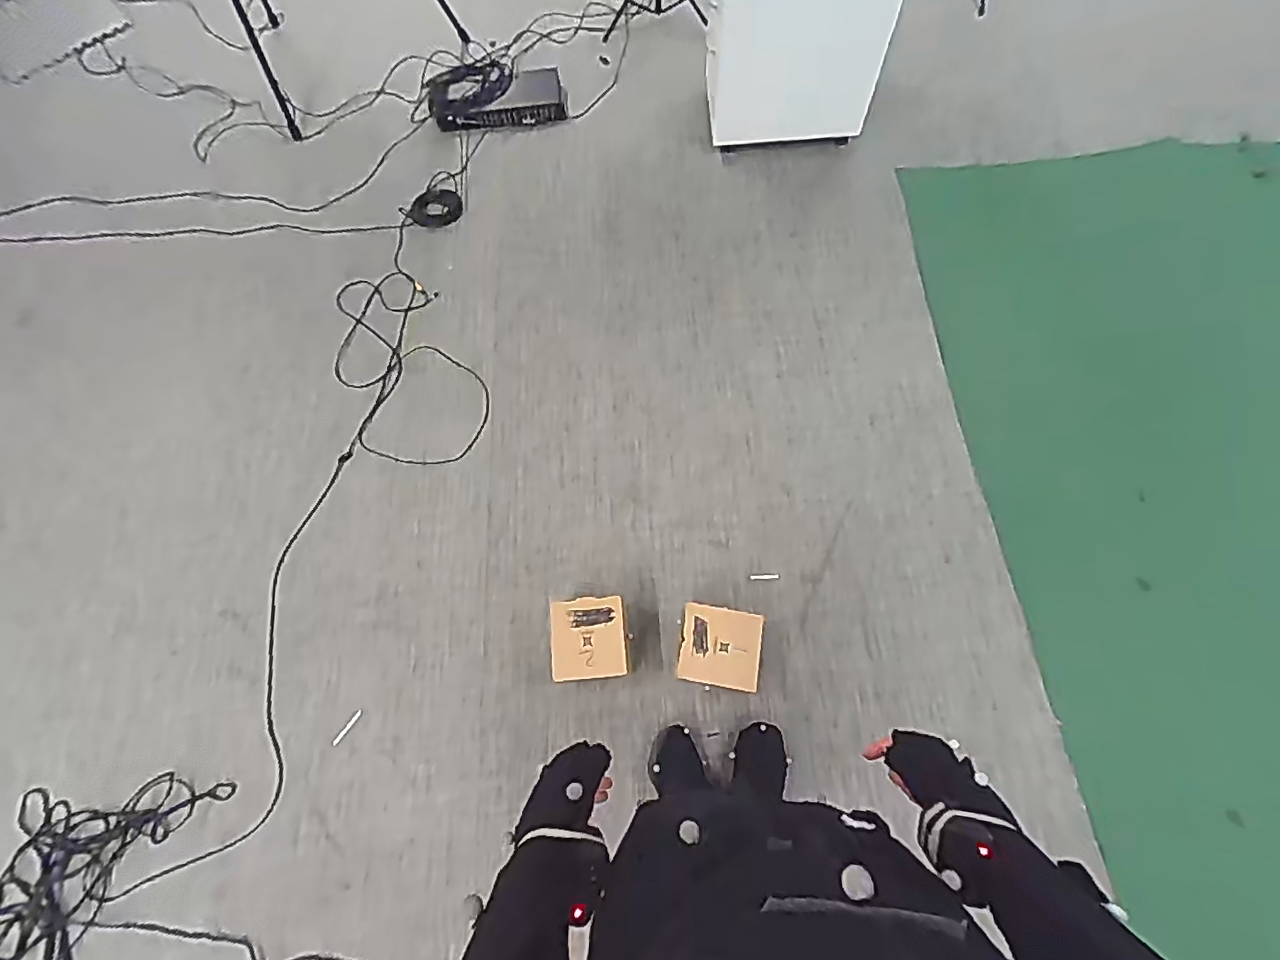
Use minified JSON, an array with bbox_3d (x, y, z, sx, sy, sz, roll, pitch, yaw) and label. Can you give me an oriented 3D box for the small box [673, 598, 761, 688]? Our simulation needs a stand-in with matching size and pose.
[{"bbox_3d":[0.174,0.385,1.261,0.179,0.176,0.168,9,70,6],"label":"small box"}]
